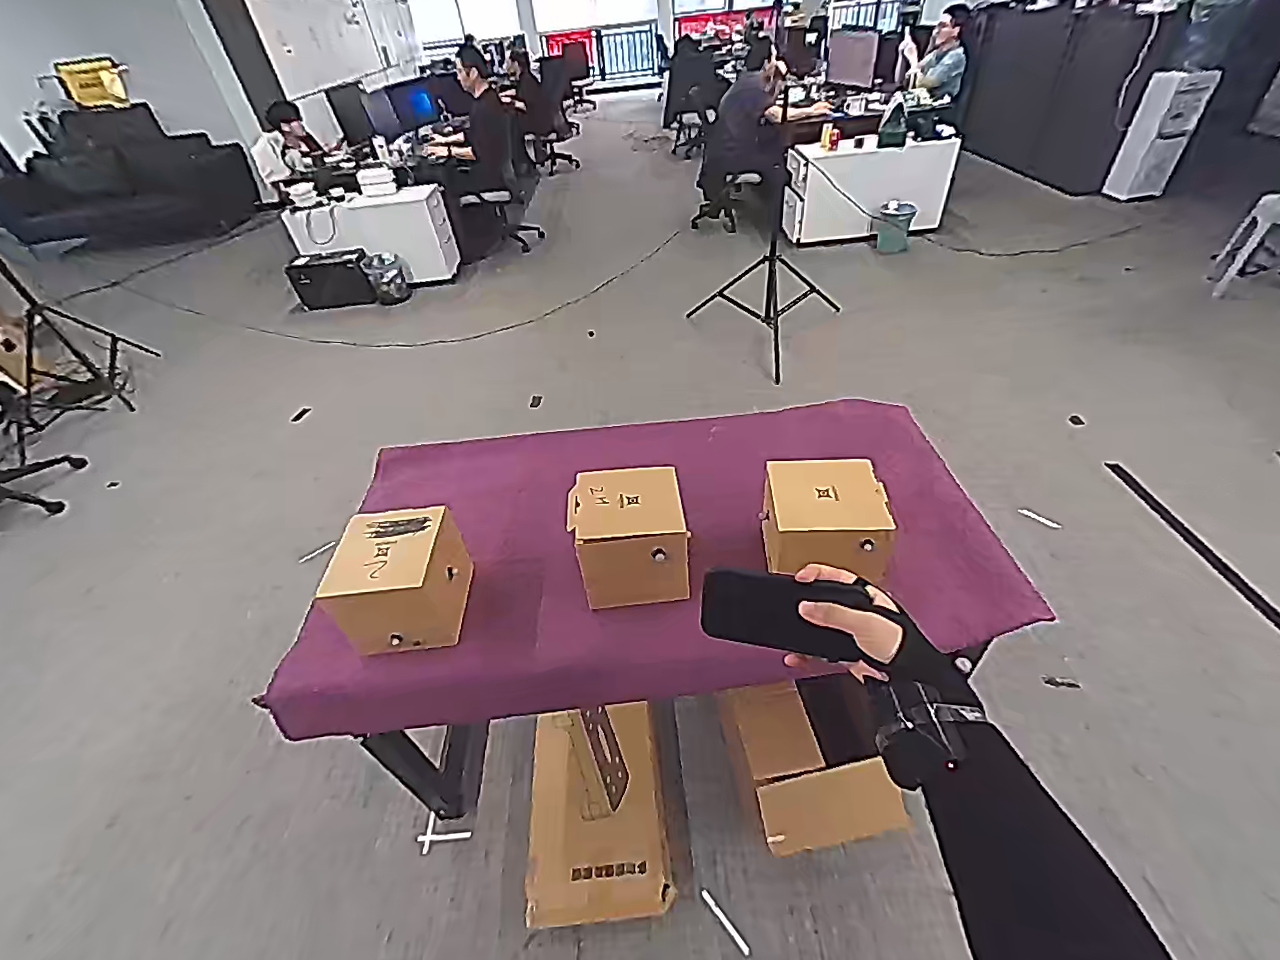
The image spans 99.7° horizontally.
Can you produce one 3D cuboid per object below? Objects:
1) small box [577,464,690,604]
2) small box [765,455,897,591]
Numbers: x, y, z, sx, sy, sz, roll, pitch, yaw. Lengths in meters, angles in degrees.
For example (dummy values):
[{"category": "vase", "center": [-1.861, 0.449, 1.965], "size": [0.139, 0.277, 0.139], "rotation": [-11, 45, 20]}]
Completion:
[{"category": "small box", "center": [-0.009, 0.095, 0.938], "size": [0.179, 0.176, 0.168], "rotation": [-7, 39, 0]}, {"category": "small box", "center": [0.309, 0.075, 0.920], "size": [0.179, 0.176, 0.168], "rotation": [-2, 42, 5]}]
